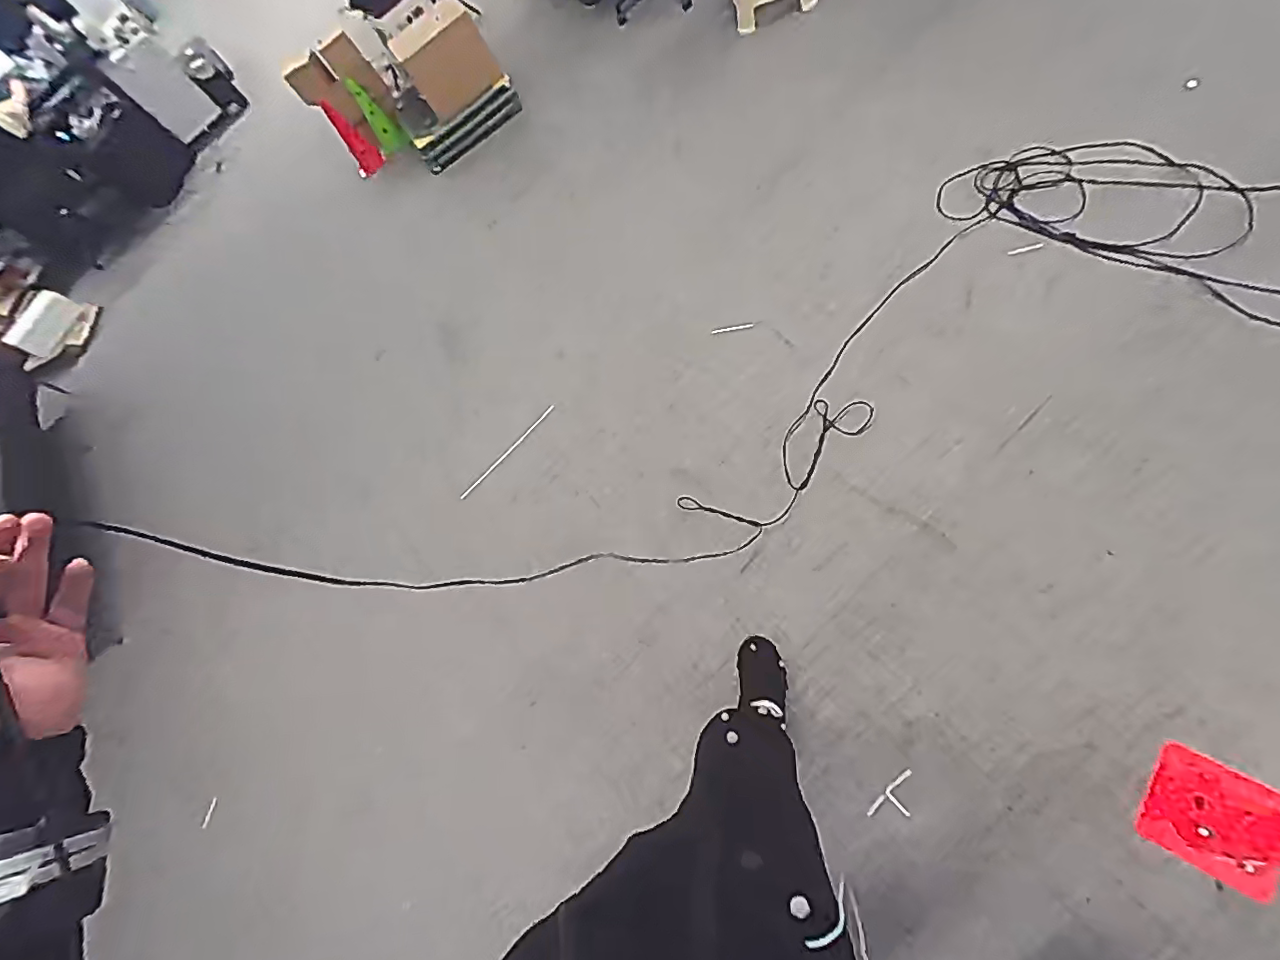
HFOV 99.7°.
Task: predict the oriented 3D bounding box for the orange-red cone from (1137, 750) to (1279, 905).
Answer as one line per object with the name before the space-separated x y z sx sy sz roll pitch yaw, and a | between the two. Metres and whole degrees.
orange-red cone | 1.033 0.582 0.876 0.198 0.360 0.199 28 78 28
